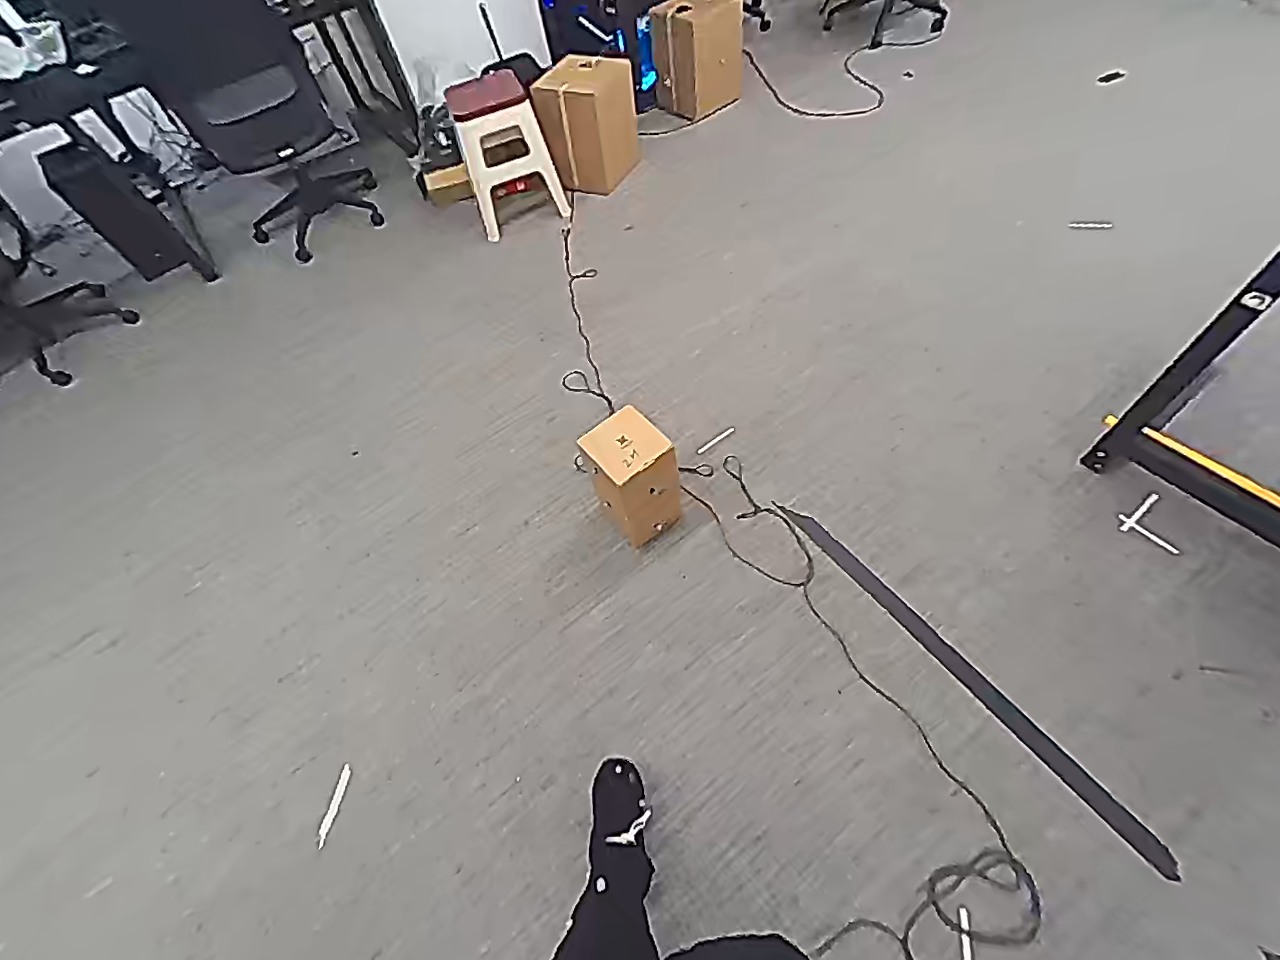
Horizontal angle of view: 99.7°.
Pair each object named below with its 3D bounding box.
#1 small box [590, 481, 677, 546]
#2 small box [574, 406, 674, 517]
[{"bbox_3d":[-0.015,0.047,1.470,0.168,0.176,0.179,-35,60,-14],"label":"small box"},{"bbox_3d":[-0.035,-0.041,1.332,0.168,0.176,0.179,-37,60,-14],"label":"small box"}]
